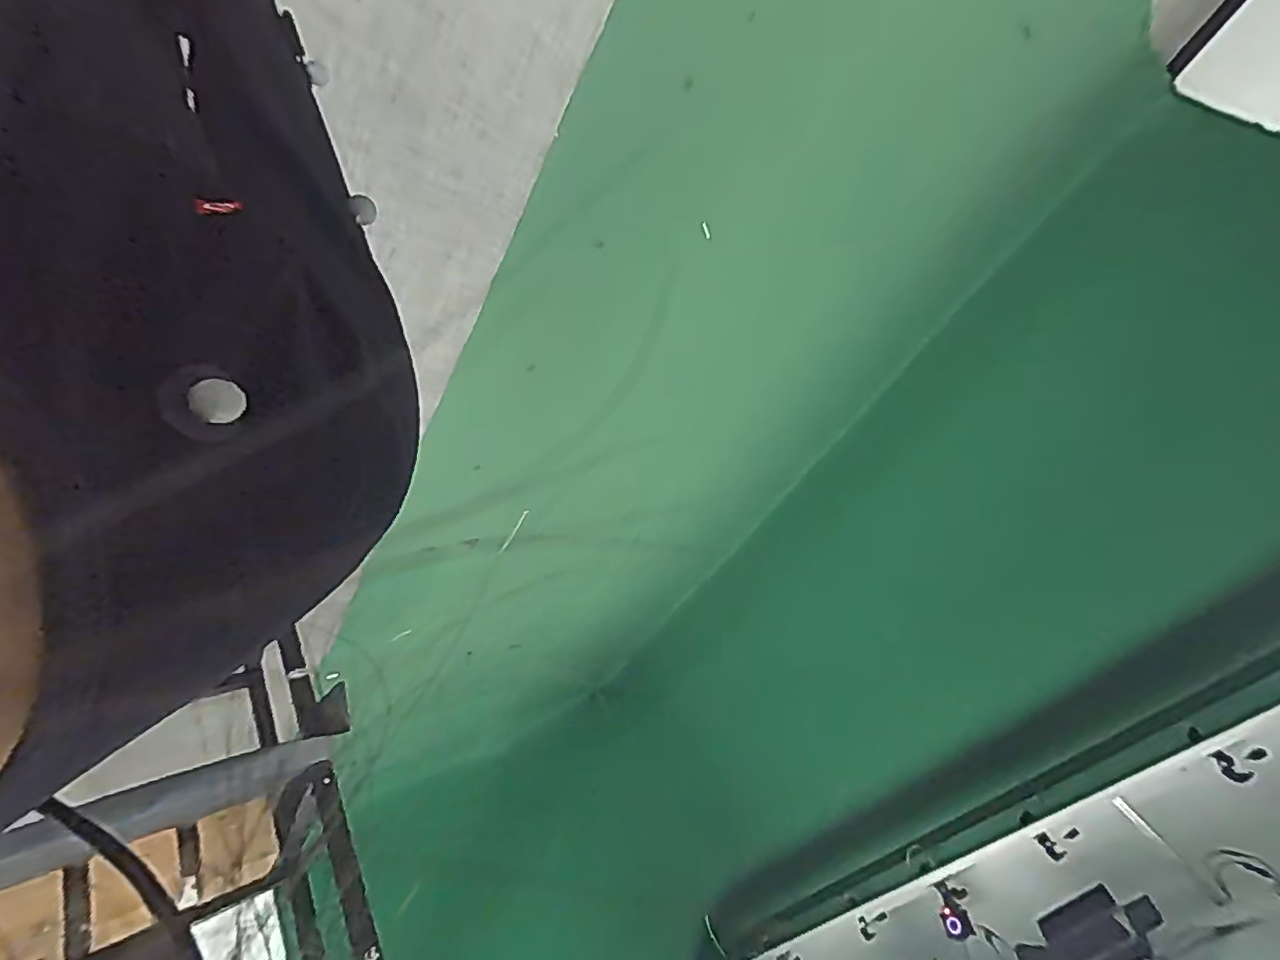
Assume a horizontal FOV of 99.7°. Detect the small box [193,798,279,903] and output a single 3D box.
[{"bbox_3d":[-1.160,1.050,1.545,0.168,0.176,0.179,-2,136,-47],"label":"small box"}]
